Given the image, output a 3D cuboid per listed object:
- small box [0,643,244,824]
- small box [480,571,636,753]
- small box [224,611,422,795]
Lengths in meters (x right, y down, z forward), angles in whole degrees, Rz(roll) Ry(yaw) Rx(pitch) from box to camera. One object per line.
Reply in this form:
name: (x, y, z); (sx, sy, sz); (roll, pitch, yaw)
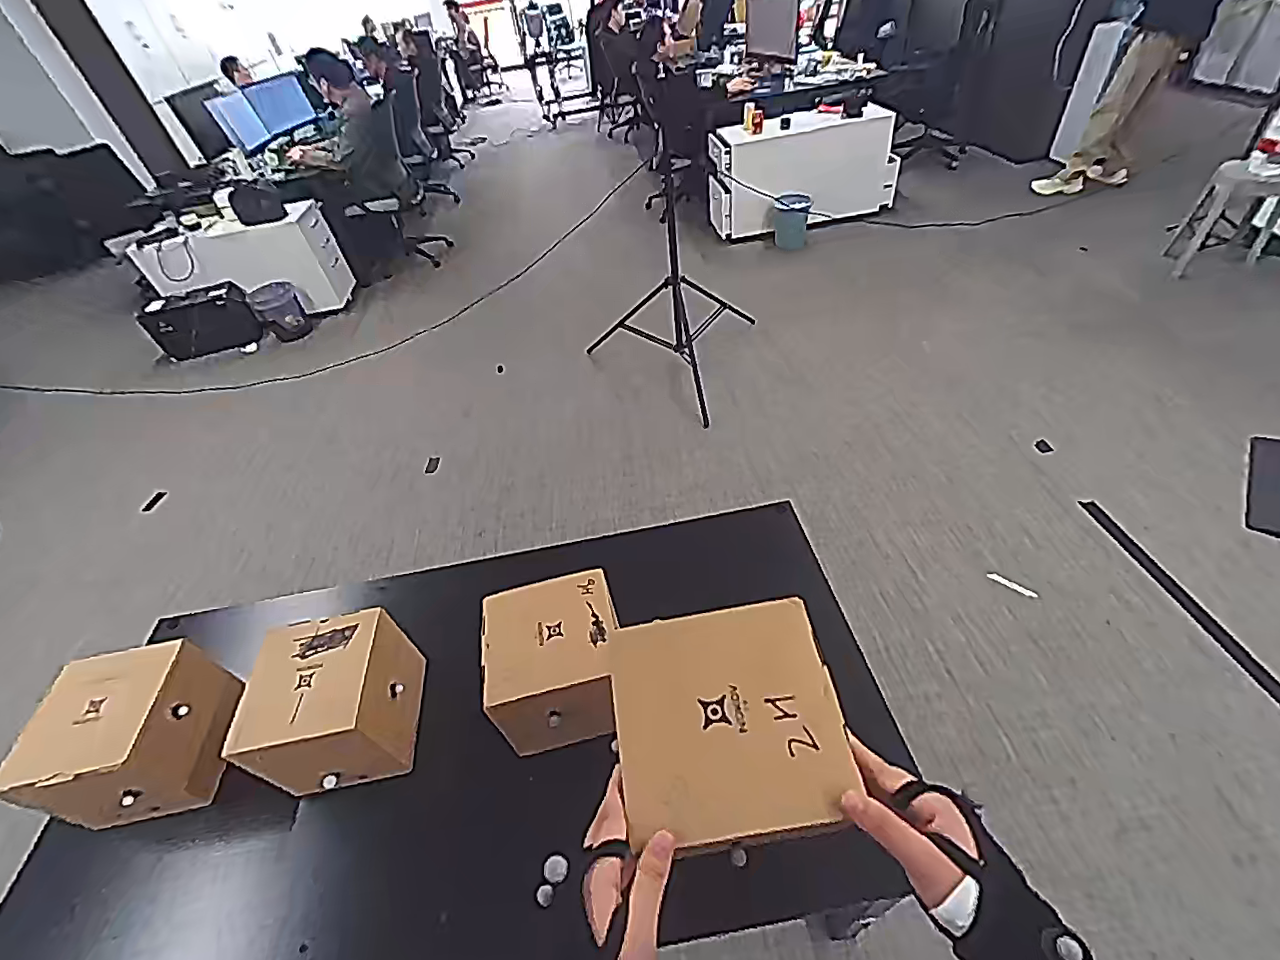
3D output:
small box: (-0.712, 0.365, 0.770); (0.168, 0.176, 0.179); (-11, 43, -3)
small box: (-0.115, 0.263, 0.773); (0.179, 0.176, 0.168); (-14, 45, -4)
small box: (-0.428, 0.317, 0.770); (0.168, 0.176, 0.179); (-11, 45, -2)
